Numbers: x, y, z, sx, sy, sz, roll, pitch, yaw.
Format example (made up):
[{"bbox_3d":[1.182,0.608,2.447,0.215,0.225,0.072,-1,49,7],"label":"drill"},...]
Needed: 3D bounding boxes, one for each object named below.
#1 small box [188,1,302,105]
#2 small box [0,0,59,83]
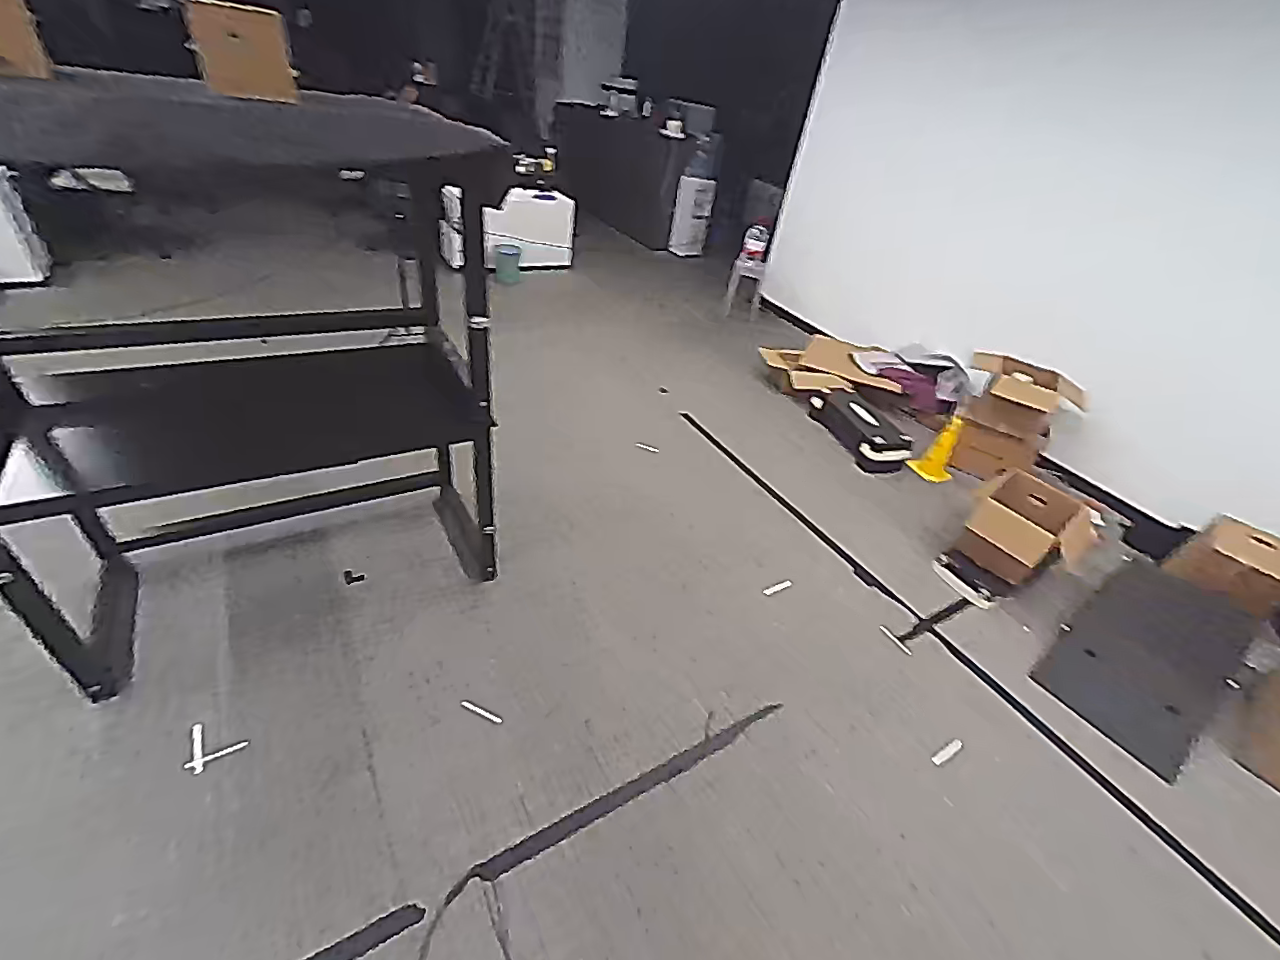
[{"bbox_3d":[-0.918,-0.993,1.263,0.179,0.176,0.168,-15,44,-29],"label":"small box"},{"bbox_3d":[-1.272,-0.884,1.039,0.168,0.176,0.179,-21,47,-33],"label":"small box"}]
